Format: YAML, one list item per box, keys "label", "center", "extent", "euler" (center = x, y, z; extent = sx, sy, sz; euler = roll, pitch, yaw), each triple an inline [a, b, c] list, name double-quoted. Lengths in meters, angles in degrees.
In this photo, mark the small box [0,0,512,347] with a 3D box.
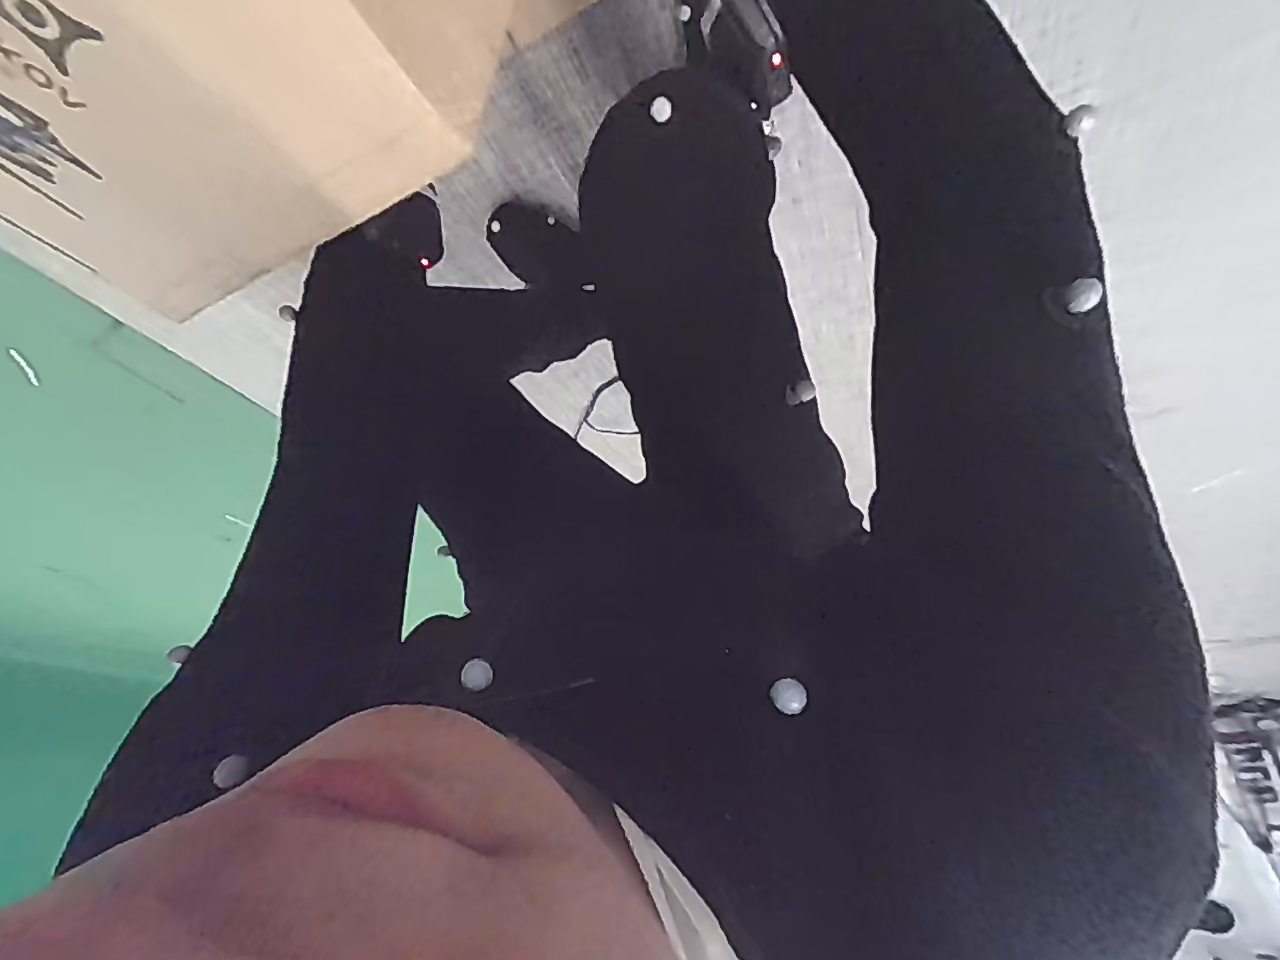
- label: "small box"
  center: [-0.160, -0.182, 0.184]
  extent: [0.179, 0.176, 0.168]
  euler: [-13, 150, 24]
